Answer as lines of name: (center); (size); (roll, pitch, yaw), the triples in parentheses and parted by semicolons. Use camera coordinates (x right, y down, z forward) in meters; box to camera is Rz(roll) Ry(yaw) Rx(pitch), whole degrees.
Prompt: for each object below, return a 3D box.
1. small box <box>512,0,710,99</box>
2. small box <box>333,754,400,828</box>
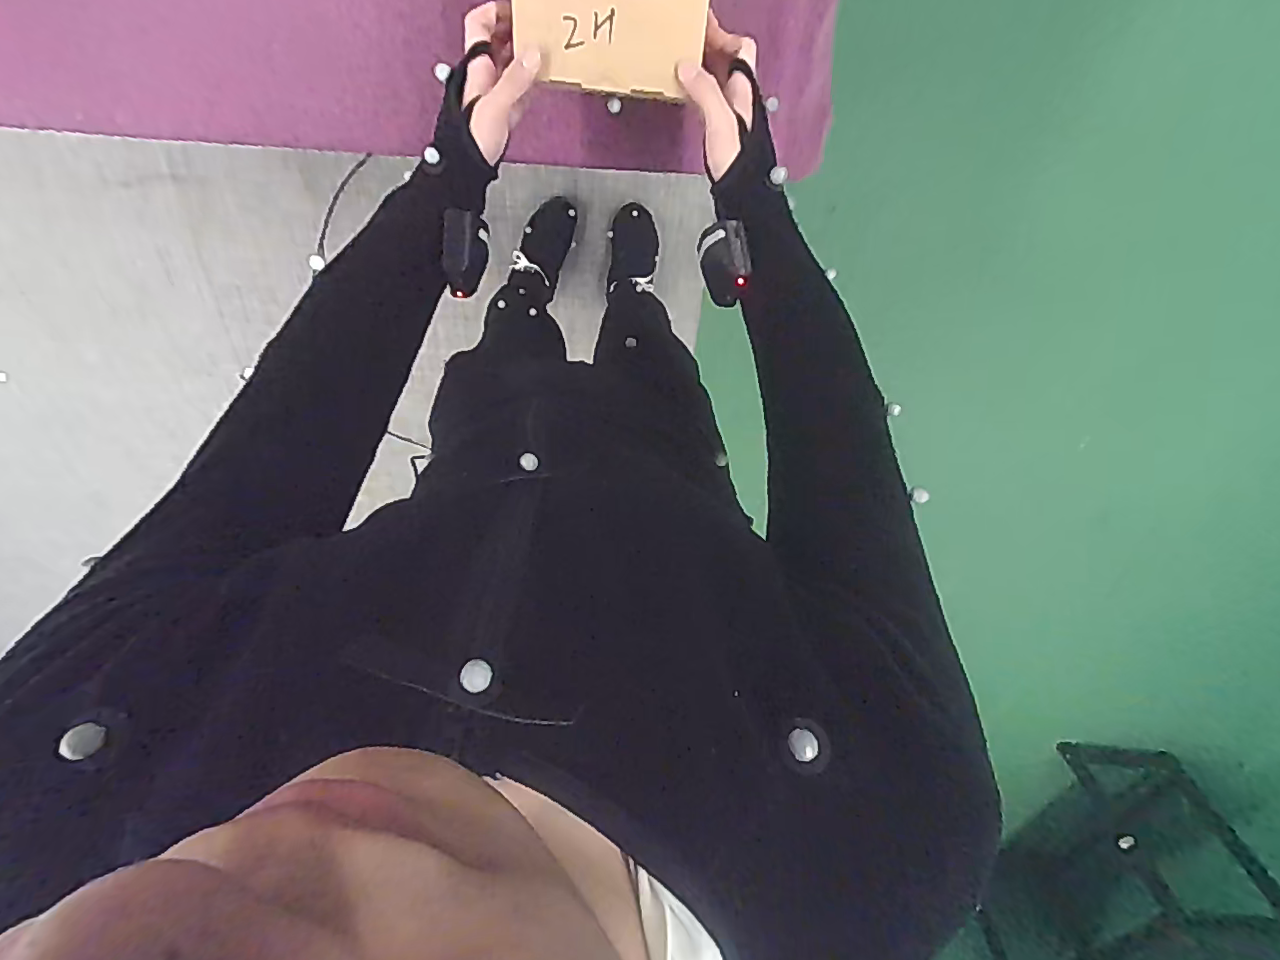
small box: (-0.019, -0.466, 0.493); (0.168, 0.176, 0.179); (6, 124, -1)
small box: (-0.996, 1.140, 1.985); (0.168, 0.176, 0.179); (10, 123, -5)
